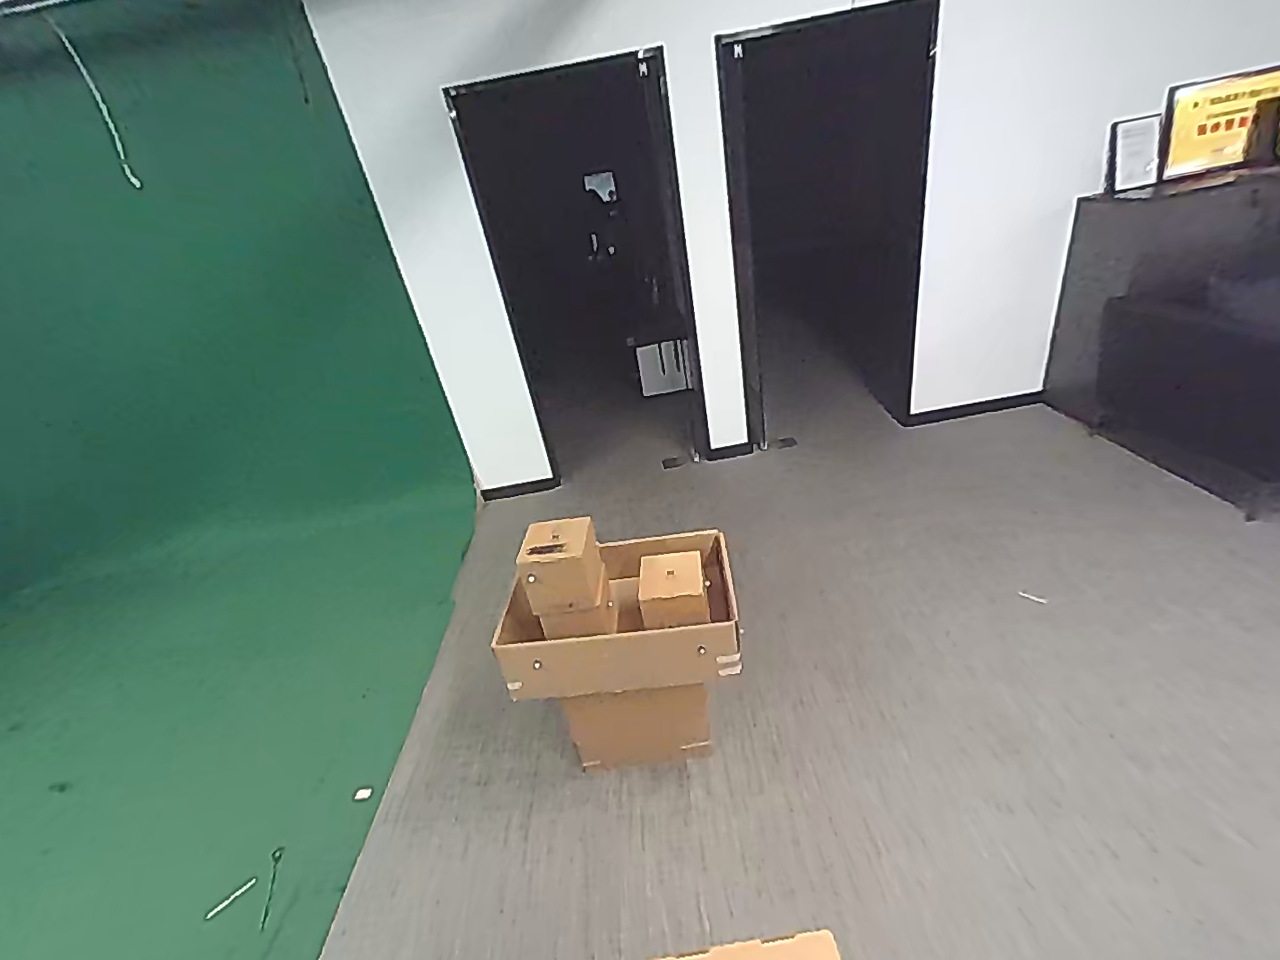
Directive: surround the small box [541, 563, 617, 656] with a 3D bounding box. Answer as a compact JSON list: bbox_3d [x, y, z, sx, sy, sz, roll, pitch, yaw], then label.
[{"bbox_3d":[-0.160,0.356,1.488,0.168,0.176,0.179,-9,29,5],"label":"small box"}]
